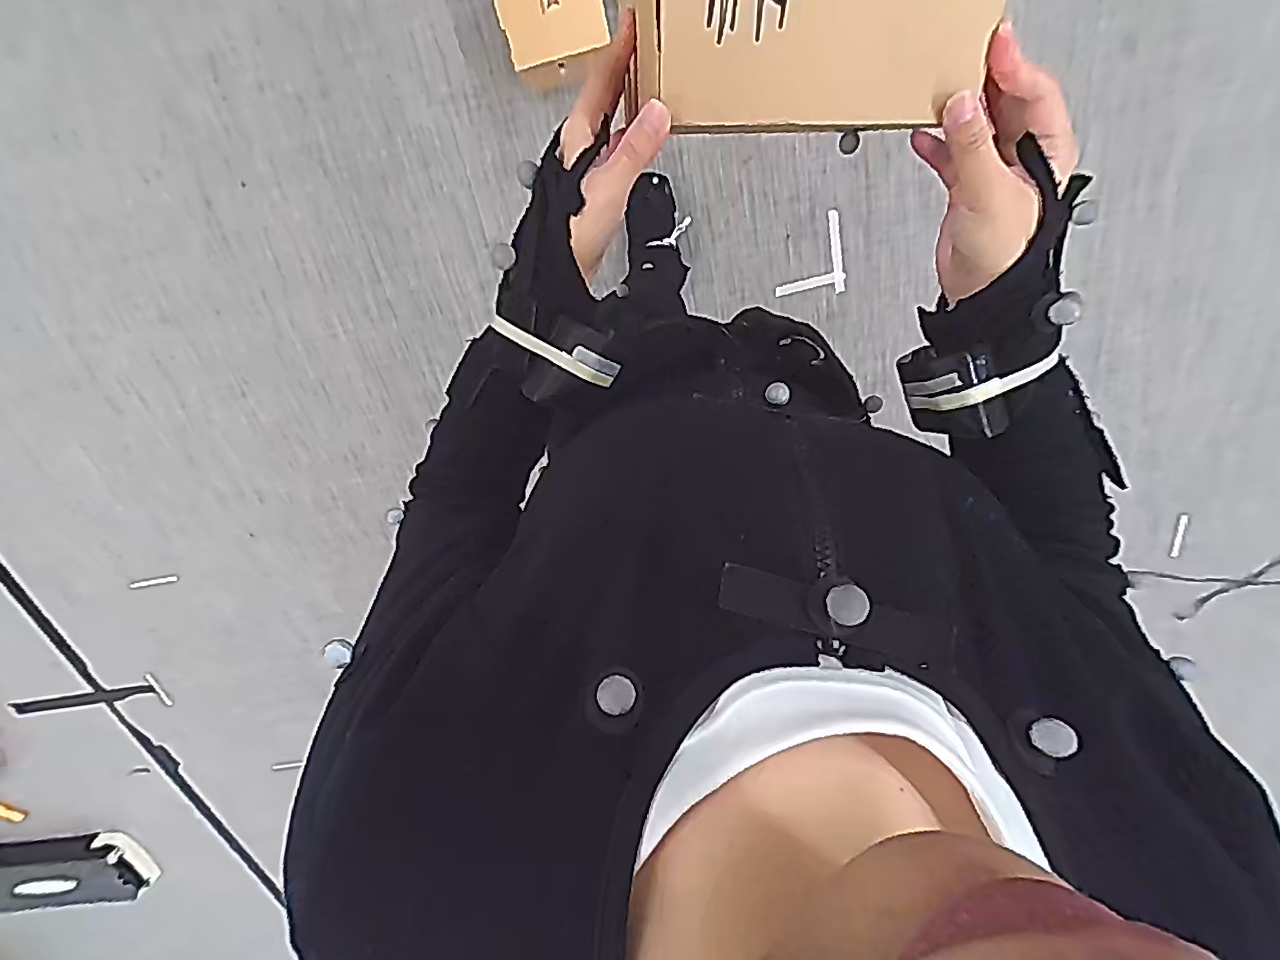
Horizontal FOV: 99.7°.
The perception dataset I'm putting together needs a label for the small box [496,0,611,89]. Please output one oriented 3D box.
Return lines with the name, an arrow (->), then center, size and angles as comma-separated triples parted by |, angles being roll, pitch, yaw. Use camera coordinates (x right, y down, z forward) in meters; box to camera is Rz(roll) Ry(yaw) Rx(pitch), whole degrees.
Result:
small box -> -0.154, -0.838, 0.974 | 0.179, 0.176, 0.168 | -11, 115, 6
